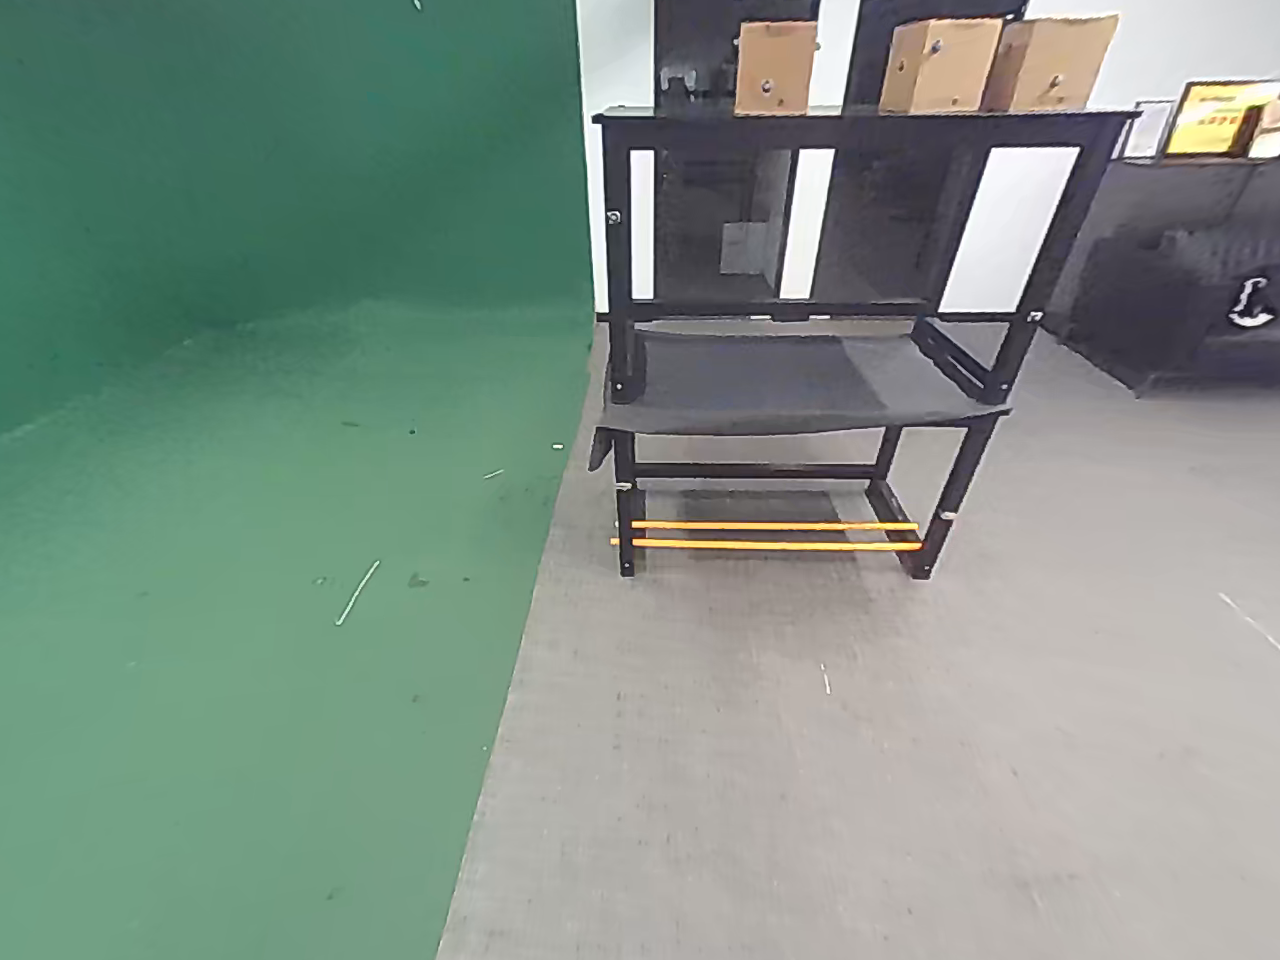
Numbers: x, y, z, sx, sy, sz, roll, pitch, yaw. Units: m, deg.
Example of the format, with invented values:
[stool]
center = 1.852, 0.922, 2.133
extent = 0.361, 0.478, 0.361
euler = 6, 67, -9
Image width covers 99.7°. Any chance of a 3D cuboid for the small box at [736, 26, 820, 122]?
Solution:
[small box]
center = 0.317, -0.952, 1.273
extent = 0.168, 0.176, 0.179
euler = 6, 37, 8
